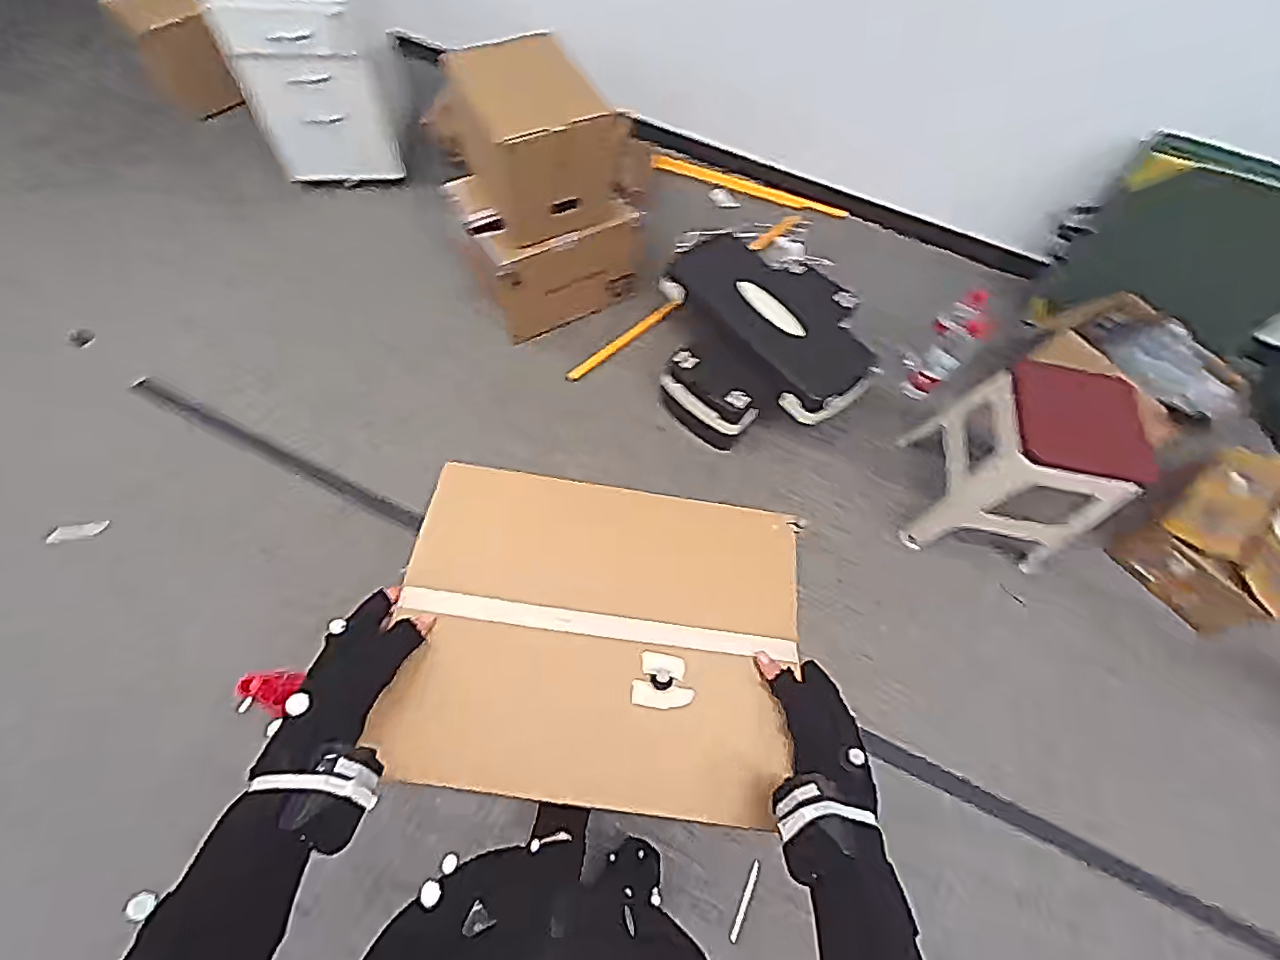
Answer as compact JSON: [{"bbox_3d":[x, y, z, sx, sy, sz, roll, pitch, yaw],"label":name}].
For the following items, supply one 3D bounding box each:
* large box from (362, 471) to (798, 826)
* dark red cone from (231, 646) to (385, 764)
[{"bbox_3d":[-0.052,0.221,0.683,0.408,0.320,0.320,10,62,-2],"label":"large box"},{"bbox_3d":[-0.702,0.438,1.099,0.201,0.394,0.202,31,65,10],"label":"dark red cone"}]
